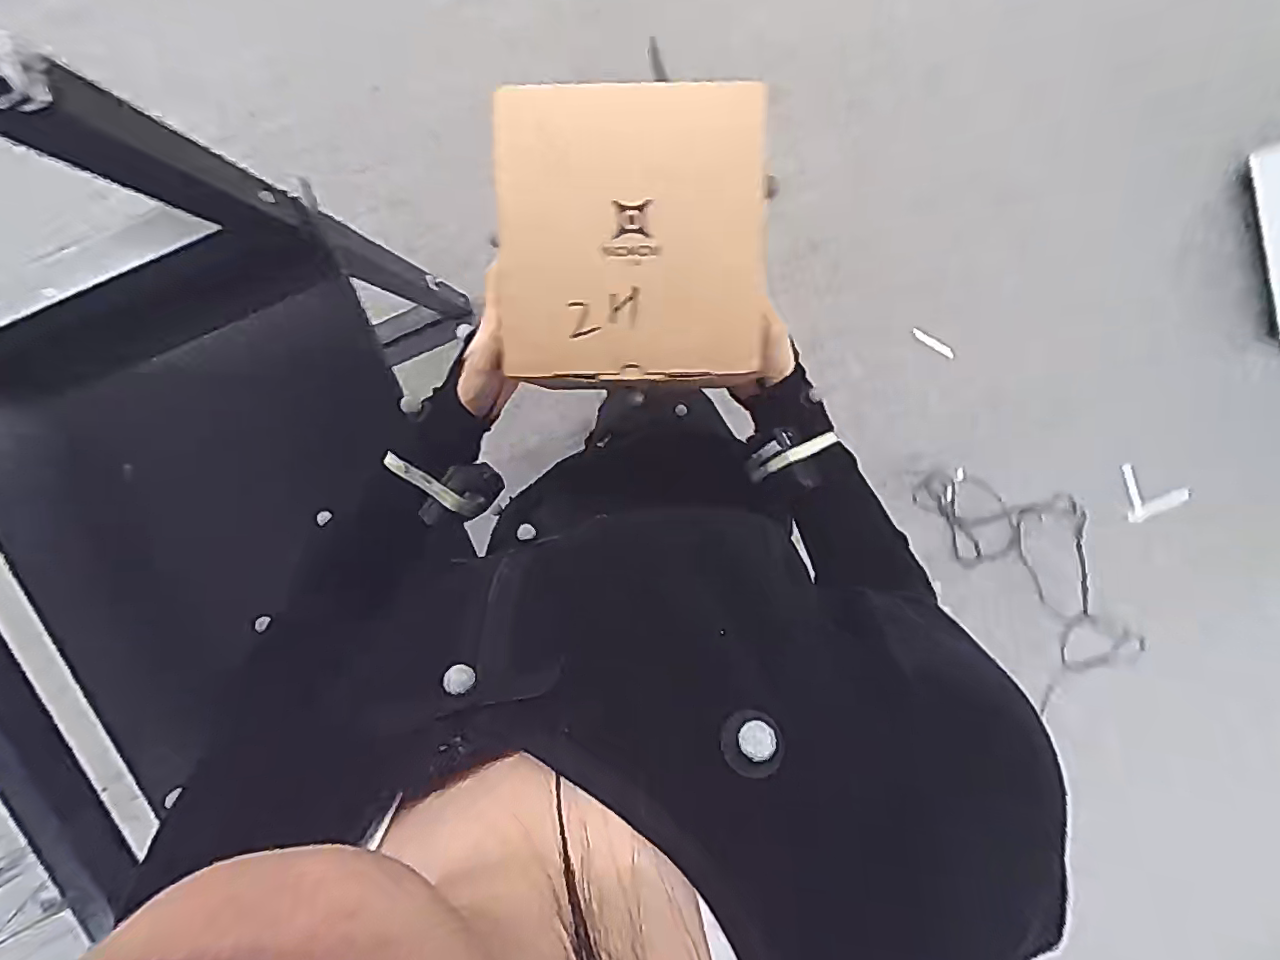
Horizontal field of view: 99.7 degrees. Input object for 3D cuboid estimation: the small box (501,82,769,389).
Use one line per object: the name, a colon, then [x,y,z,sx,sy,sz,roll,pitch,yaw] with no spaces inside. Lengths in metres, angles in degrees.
small box: [-0.003,-0.162,0.415,0.168,0.176,0.179,0,98,2]
